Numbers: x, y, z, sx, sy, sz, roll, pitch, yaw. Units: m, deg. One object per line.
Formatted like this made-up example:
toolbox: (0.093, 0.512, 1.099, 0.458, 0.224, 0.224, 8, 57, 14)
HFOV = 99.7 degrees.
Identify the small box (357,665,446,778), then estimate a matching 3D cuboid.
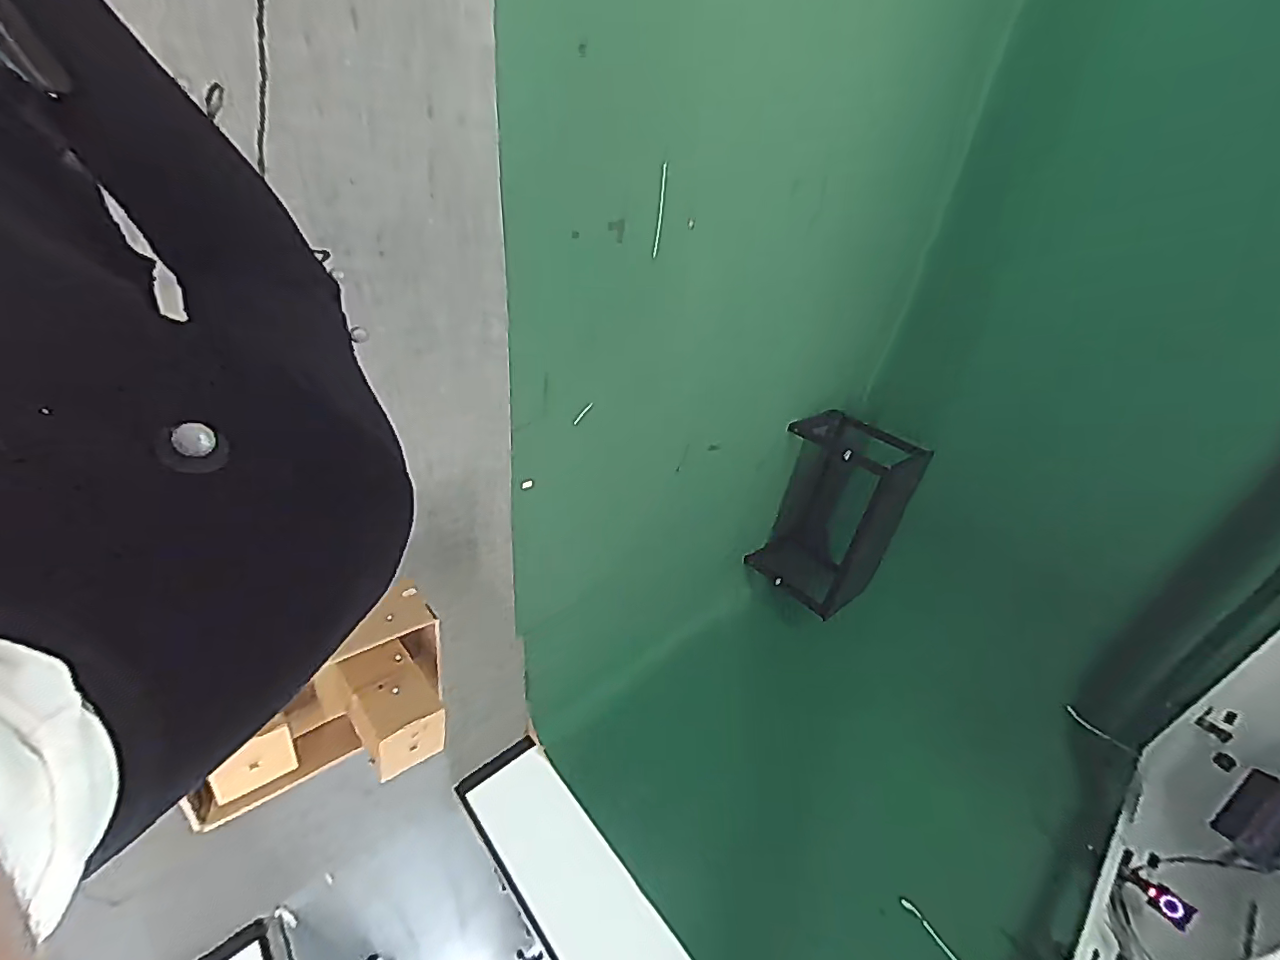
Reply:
small box: (-0.628, 0.627, 1.421, 0.168, 0.176, 0.179, -16, 130, -41)

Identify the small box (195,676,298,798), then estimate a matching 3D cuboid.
small box: (-0.966, 0.624, 1.330, 0.168, 0.176, 0.179, -17, 129, -39)
